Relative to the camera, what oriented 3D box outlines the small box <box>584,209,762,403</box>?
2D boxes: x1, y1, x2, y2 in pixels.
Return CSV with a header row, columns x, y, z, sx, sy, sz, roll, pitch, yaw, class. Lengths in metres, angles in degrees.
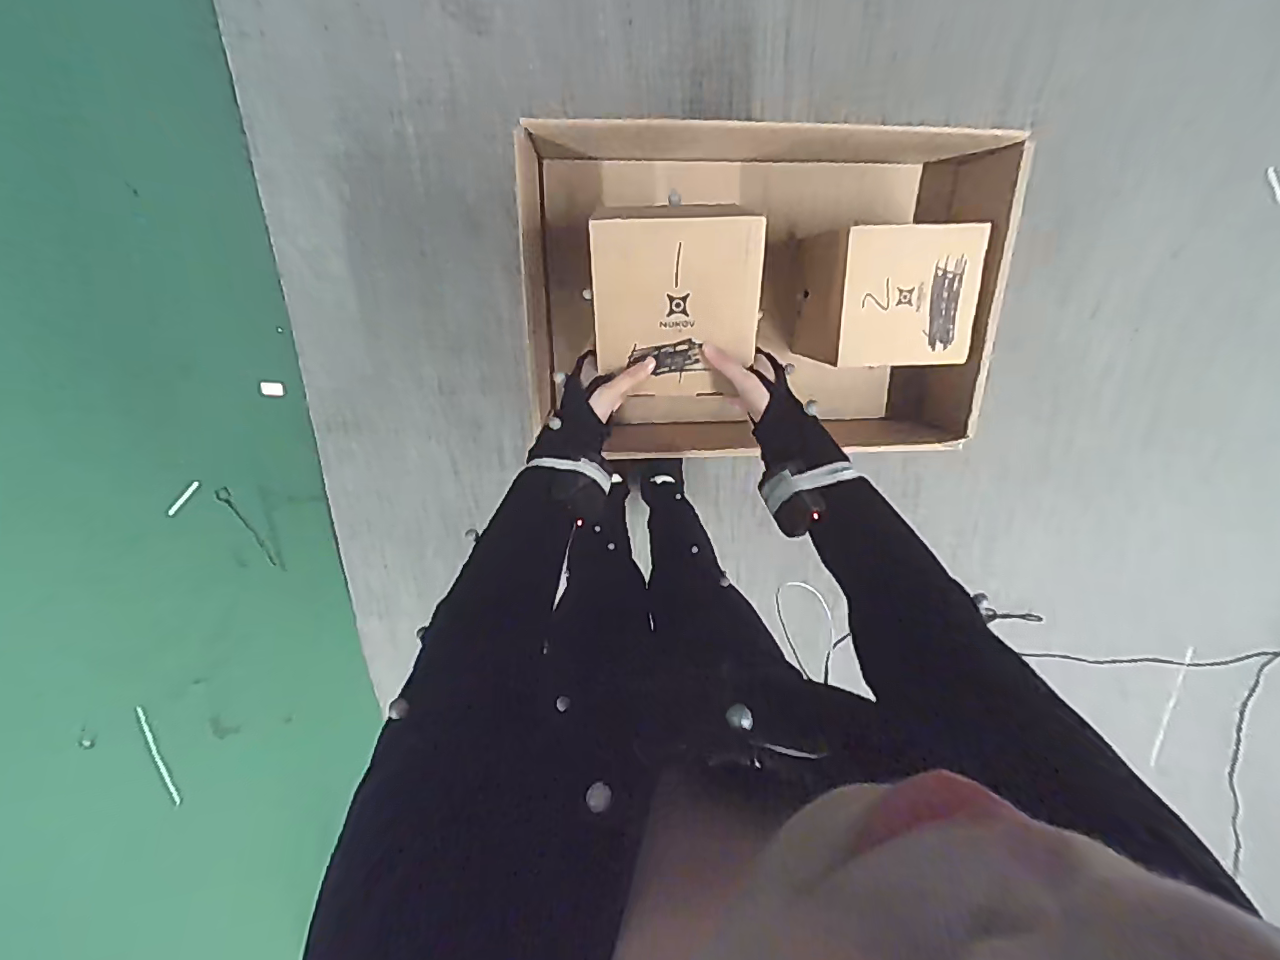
x,y,z,sx,sy,sz,roll,pitch,yaw,class
0.030,-0.198,0.601,0.168,0.176,0.179,-1,120,-1,small box
